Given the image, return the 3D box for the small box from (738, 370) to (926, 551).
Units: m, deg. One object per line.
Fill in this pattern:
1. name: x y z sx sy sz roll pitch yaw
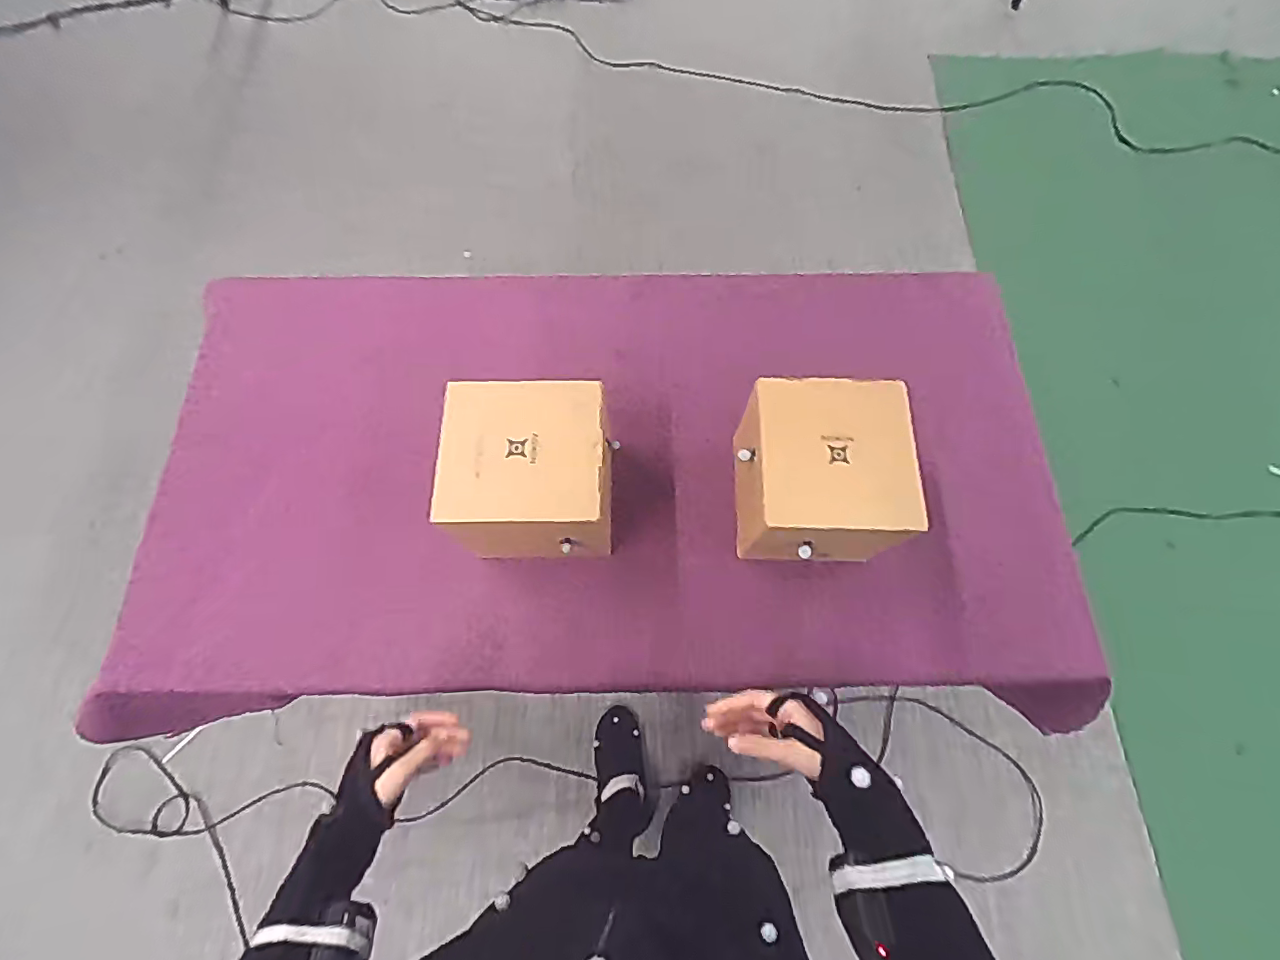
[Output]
1. small box: 0.214 -0.014 0.654 0.168 0.176 0.179 1 69 1

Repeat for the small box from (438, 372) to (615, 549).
1. small box: -0.121 -0.016 0.655 0.179 0.176 0.168 0 69 0
